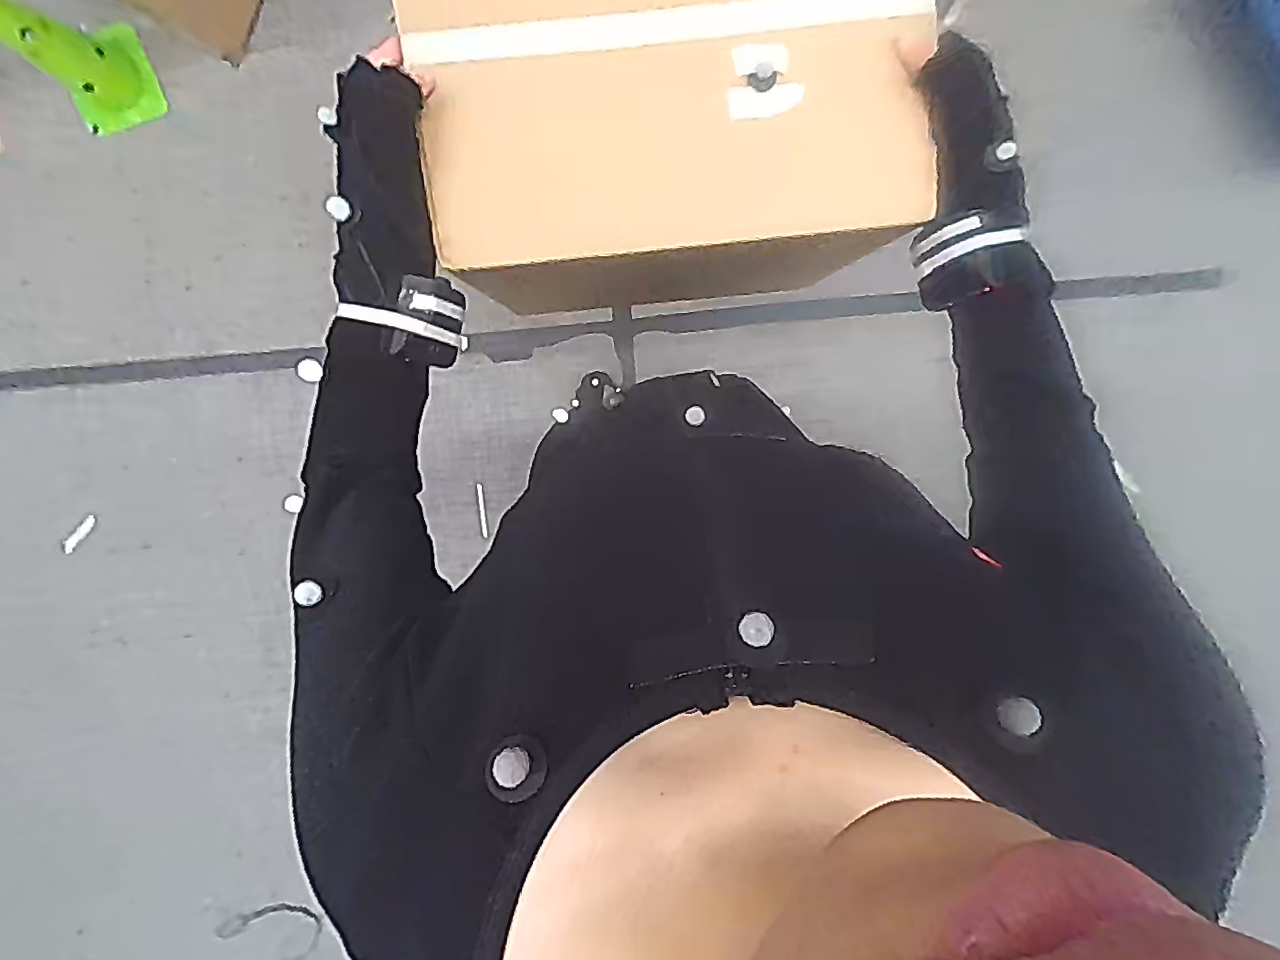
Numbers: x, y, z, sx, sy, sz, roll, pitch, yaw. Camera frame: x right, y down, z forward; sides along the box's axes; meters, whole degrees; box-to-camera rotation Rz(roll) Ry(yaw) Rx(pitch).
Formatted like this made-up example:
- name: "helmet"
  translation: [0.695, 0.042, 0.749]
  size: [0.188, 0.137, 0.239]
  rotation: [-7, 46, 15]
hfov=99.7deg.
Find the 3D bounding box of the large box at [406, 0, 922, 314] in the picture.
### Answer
- name: "large box"
  translation: [0.015, -0.373, 0.568]
  size: [0.408, 0.320, 0.320]
  rotation: [-6, 100, -1]
